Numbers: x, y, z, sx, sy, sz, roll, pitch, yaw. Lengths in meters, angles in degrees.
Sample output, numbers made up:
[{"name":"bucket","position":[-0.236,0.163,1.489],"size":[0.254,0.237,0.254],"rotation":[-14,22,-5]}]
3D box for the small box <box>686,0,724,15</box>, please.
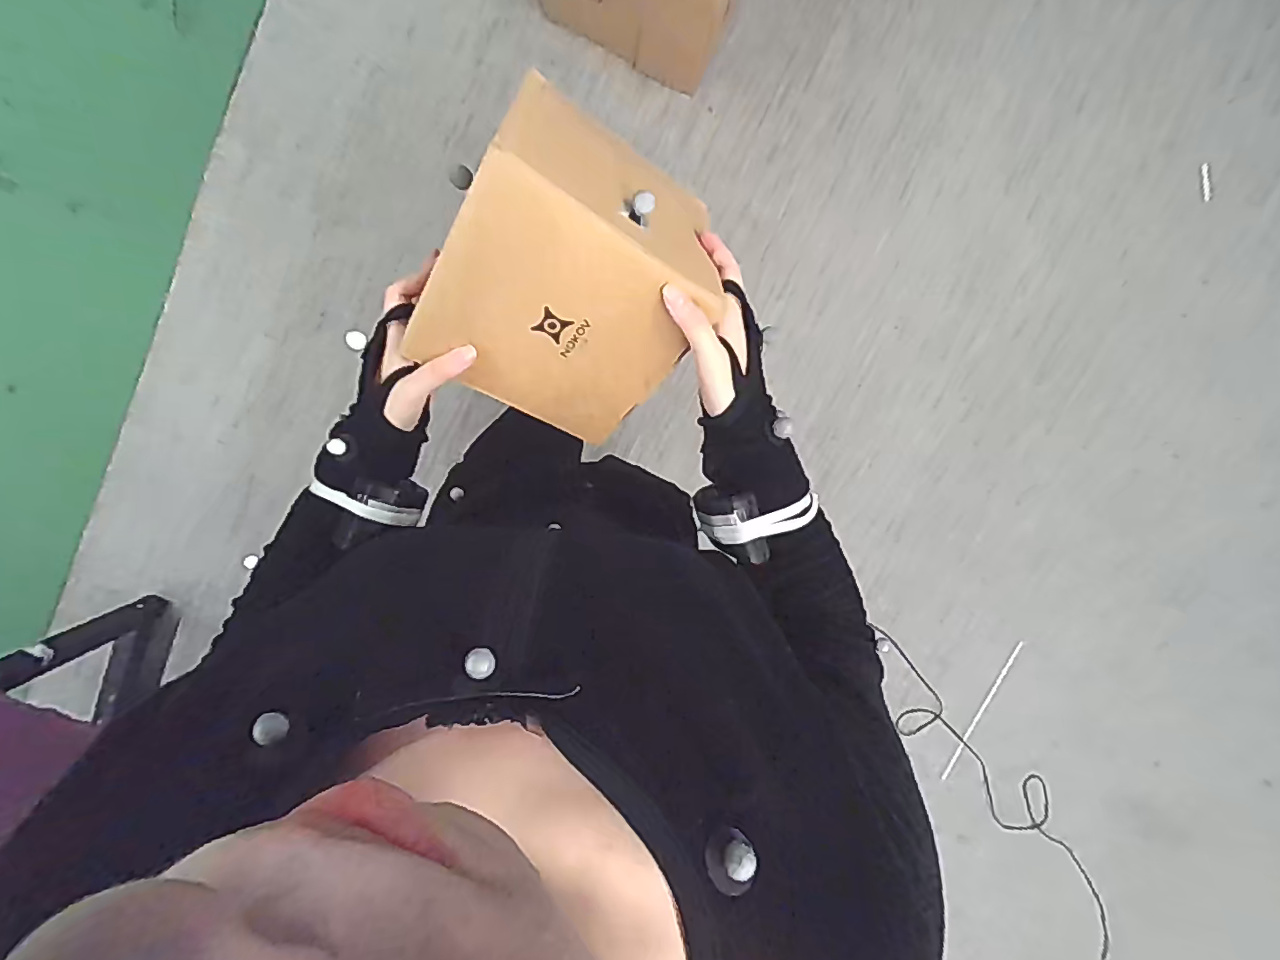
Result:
[{"name":"small box","position":[0.120,-0.990,0.944],"size":[0.168,0.176,0.179],"rotation":[29,95,-7]}]
